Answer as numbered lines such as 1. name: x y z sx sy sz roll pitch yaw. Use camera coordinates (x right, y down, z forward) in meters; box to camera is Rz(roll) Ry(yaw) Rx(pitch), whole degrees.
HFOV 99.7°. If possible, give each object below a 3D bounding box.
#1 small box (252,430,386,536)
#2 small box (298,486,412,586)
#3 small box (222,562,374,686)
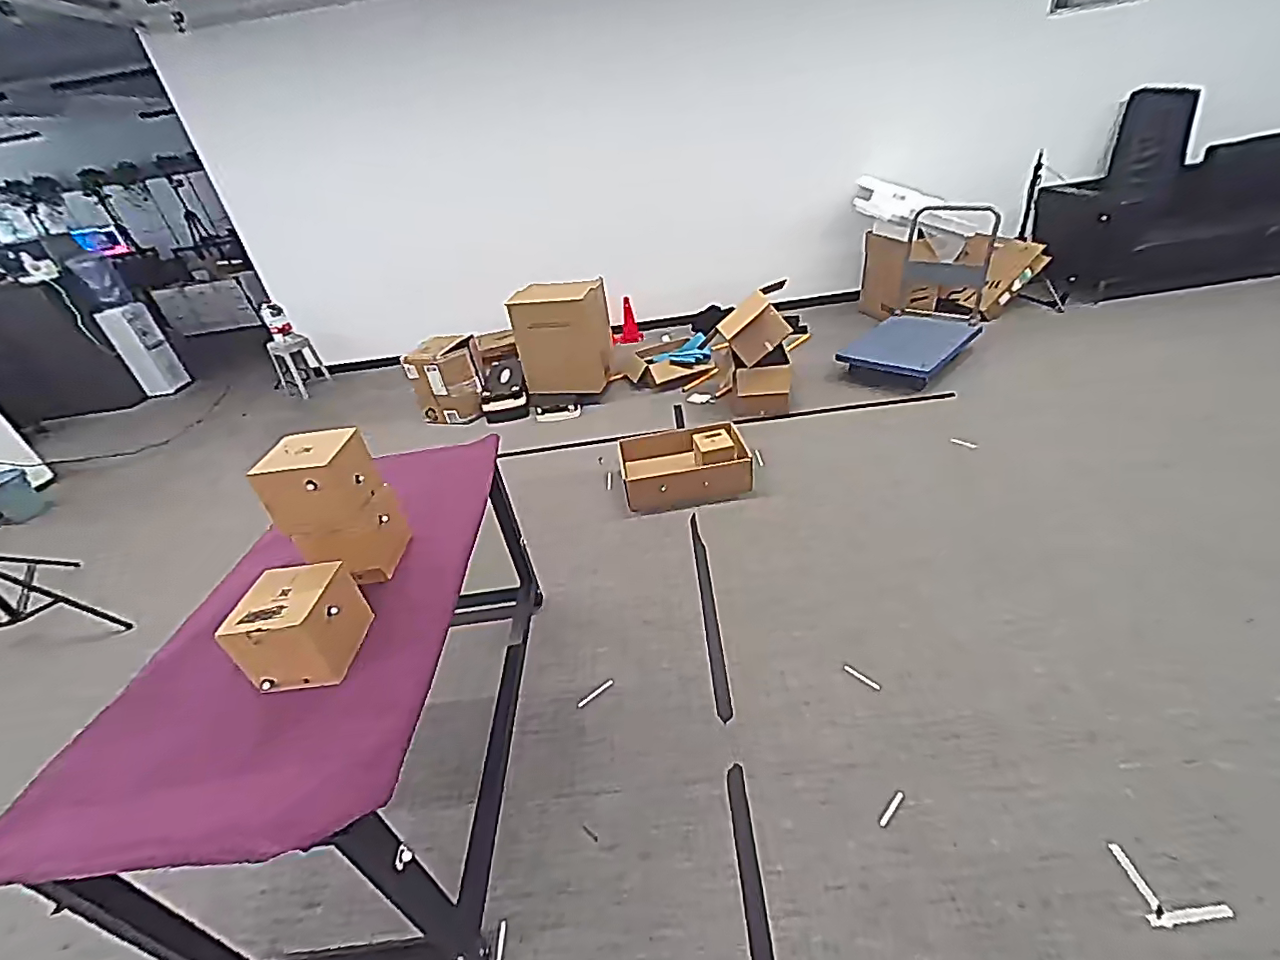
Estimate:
1. small box: -0.712 0.007 1.227 0.179 0.176 0.168 -7 33 4
2. small box: -0.682 0.138 1.322 0.168 0.176 0.179 -7 34 3
3. small box: -0.665 0.292 1.082 0.168 0.176 0.179 -7 32 3
